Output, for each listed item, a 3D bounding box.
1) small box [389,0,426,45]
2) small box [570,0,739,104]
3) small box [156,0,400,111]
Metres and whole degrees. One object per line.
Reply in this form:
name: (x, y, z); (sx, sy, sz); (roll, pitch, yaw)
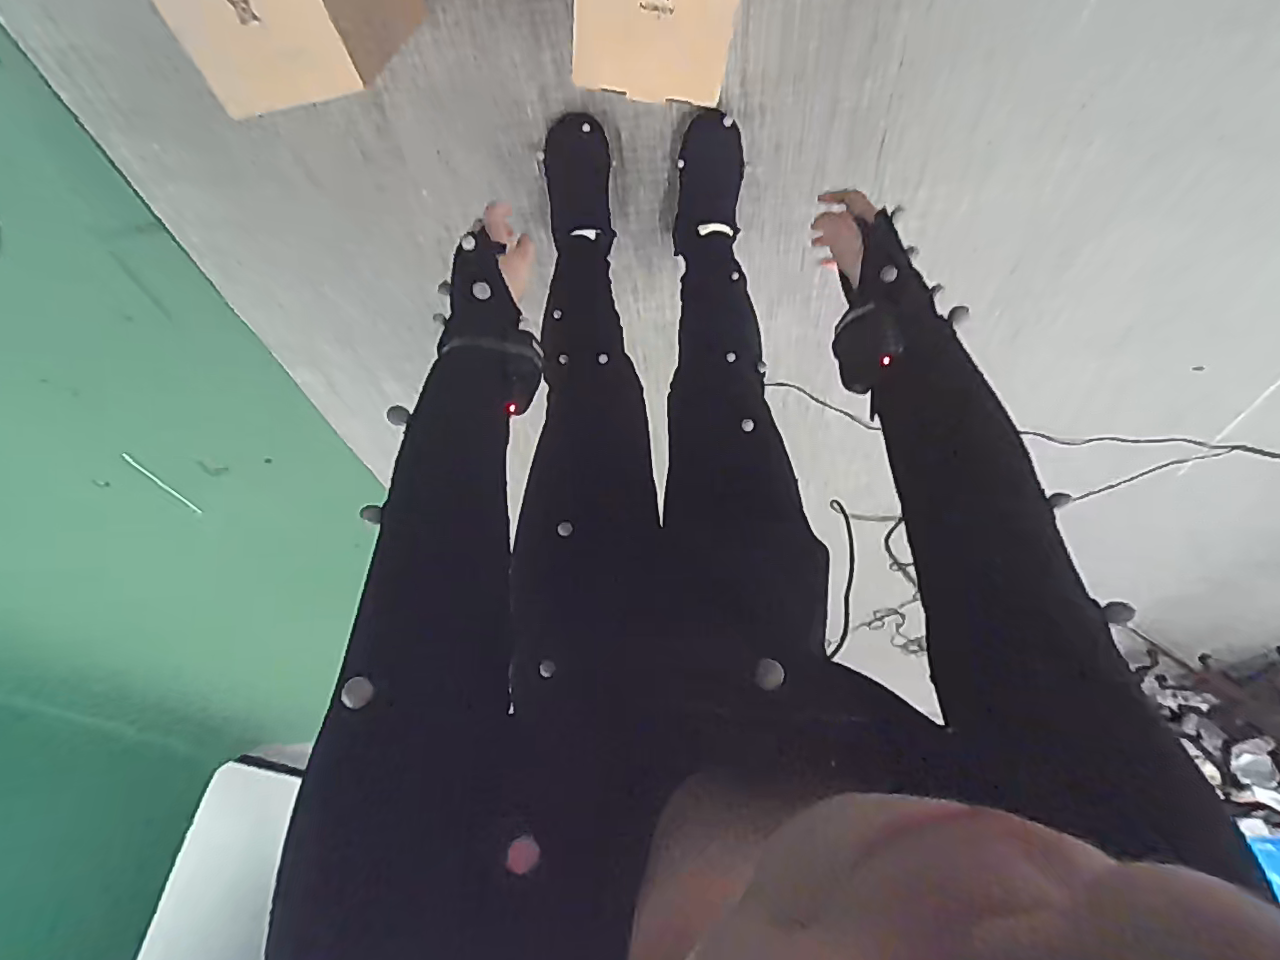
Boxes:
small box: (-0.396, -0.656, 0.675); (0.168, 0.176, 0.179); (-8, 142, 7)
small box: (0.017, -0.540, 0.572); (0.168, 0.176, 0.179); (4, 143, -7)
small box: (-0.387, -0.531, 0.570); (0.168, 0.176, 0.179); (-6, 142, 8)
